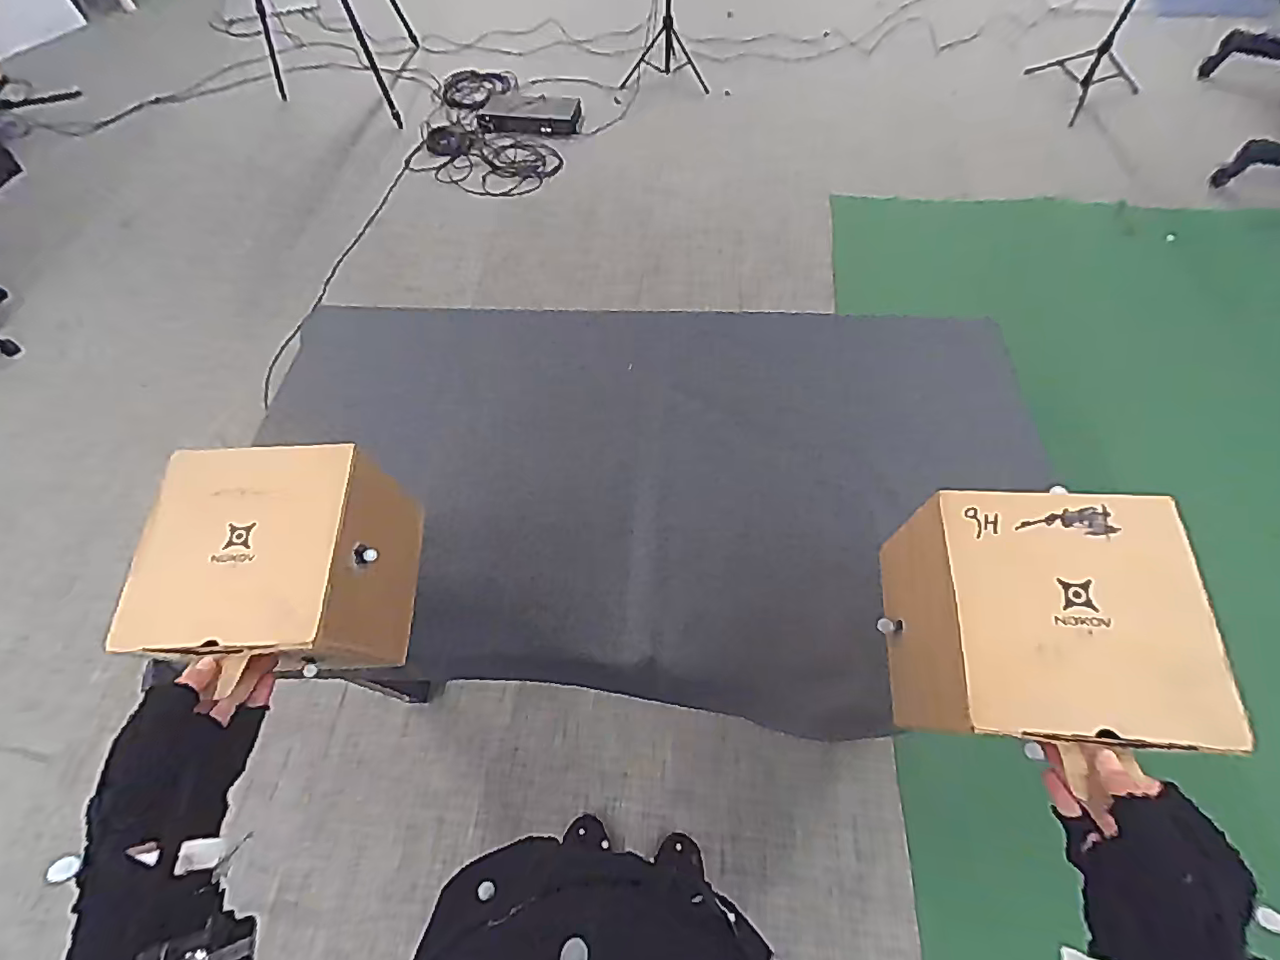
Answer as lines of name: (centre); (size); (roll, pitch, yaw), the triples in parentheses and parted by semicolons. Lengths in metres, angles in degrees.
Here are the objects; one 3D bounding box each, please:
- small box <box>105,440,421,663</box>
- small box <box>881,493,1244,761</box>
small box: (-0.326, 0.078, 0.515); (0.168, 0.176, 0.179); (-2, 66, -1)
small box: (0.316, 0.122, 0.454); (0.168, 0.176, 0.179); (2, 68, 7)
